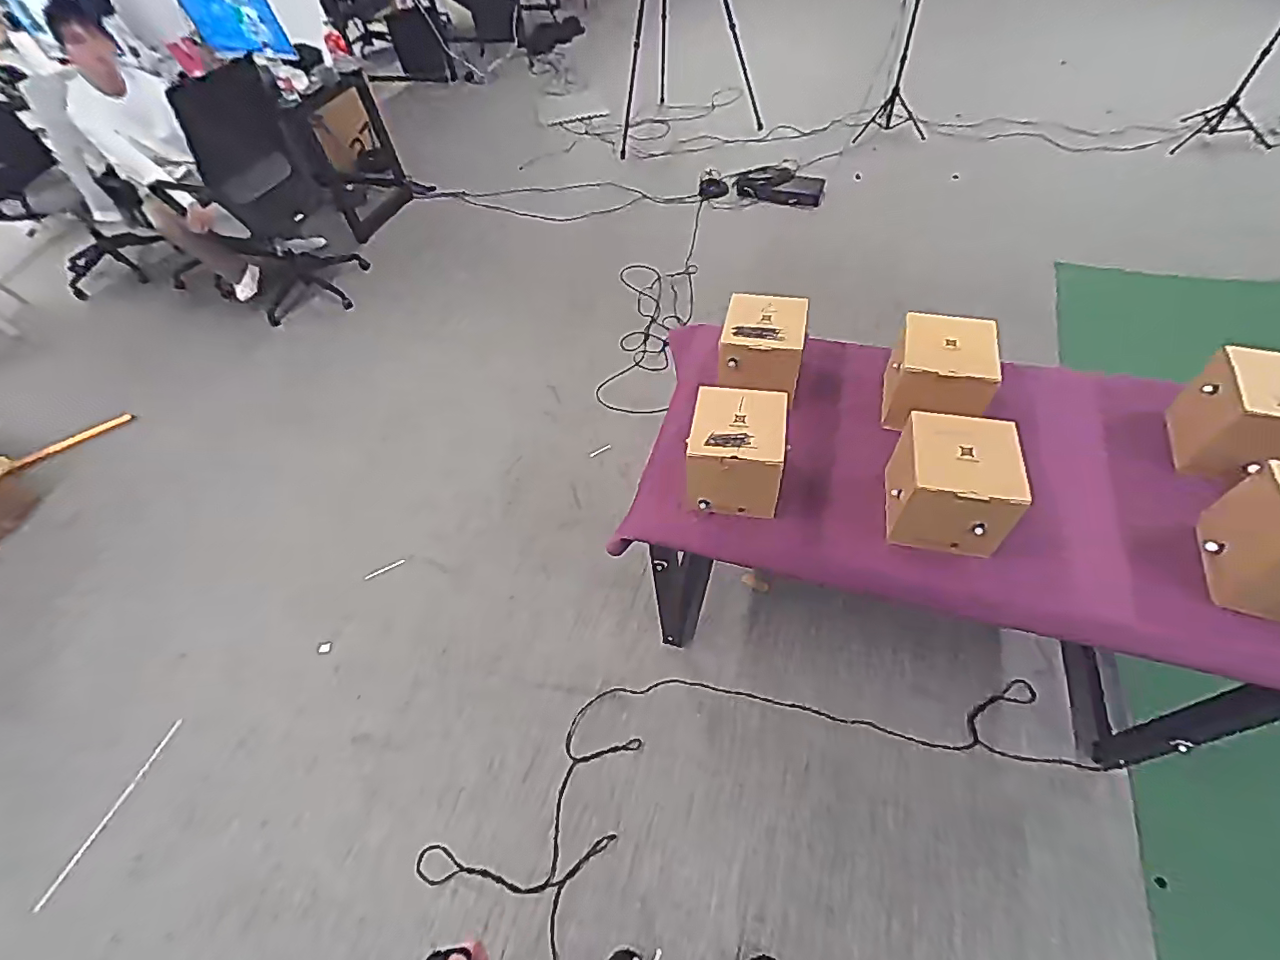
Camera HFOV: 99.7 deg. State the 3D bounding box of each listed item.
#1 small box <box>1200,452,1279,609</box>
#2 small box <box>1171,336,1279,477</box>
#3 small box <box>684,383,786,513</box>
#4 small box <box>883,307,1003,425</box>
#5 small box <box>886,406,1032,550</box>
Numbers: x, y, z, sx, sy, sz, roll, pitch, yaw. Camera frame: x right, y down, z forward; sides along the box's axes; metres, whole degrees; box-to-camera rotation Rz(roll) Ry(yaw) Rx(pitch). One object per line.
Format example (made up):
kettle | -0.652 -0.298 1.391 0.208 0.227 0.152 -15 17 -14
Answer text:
small box | 0.998 0.091 0.802 0.168 0.176 0.179 15 55 18
small box | 1.092 -0.121 0.952 0.168 0.176 0.179 15 57 18
small box | 0.179 -0.057 1.015 0.168 0.176 0.179 6 52 11
small box | 0.600 -0.220 1.091 0.168 0.176 0.179 10 56 14
small box | 0.534 0.000 0.932 0.168 0.176 0.179 9 53 13
